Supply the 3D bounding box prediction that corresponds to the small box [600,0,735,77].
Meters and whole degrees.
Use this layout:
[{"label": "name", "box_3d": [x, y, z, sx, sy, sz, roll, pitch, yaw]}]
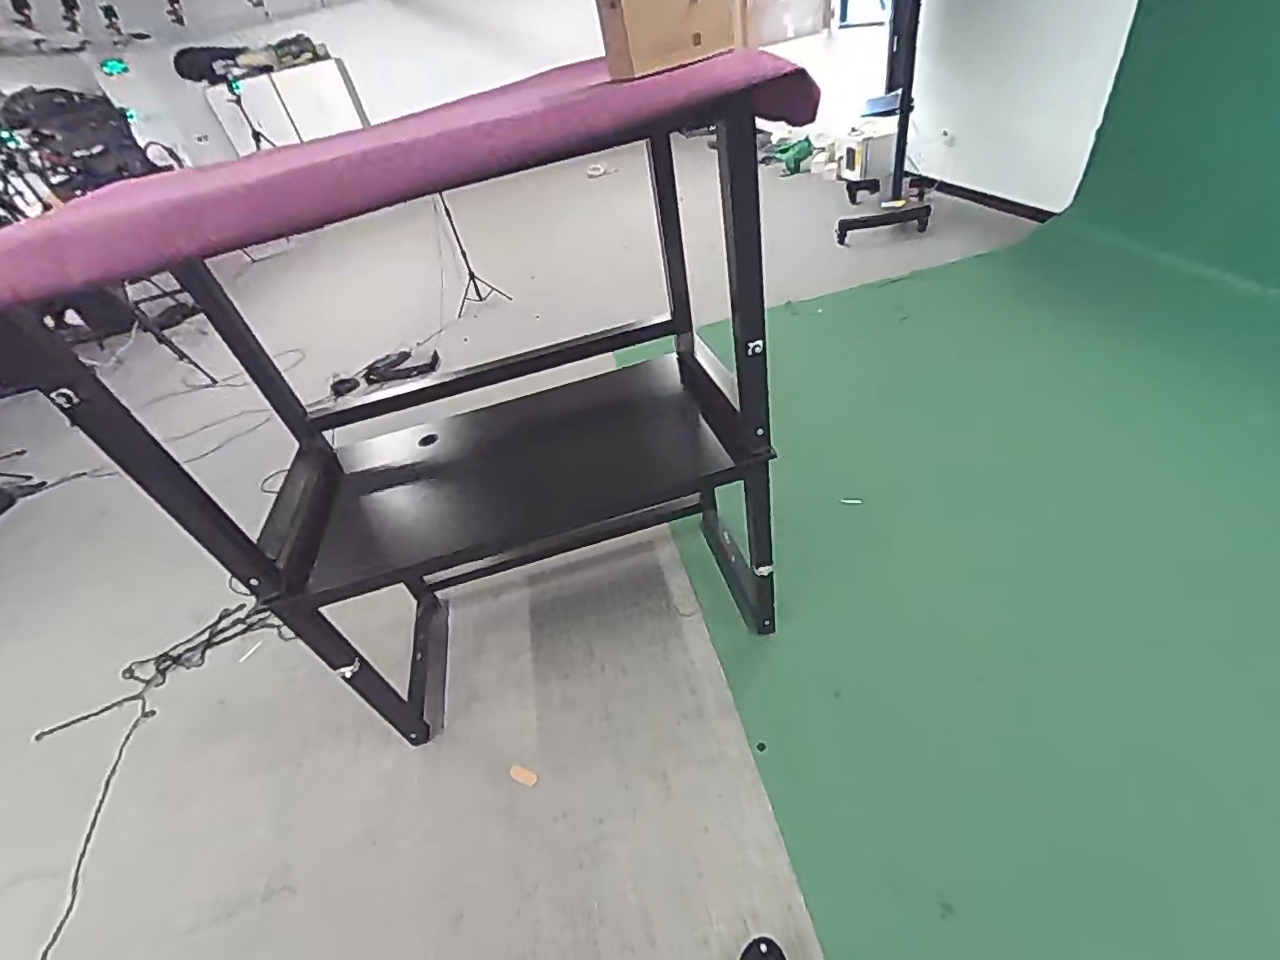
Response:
[{"label": "small box", "box_3d": [0.036, -0.735, 0.823, 0.168, 0.176, 0.179, -17, 37, -4]}]
